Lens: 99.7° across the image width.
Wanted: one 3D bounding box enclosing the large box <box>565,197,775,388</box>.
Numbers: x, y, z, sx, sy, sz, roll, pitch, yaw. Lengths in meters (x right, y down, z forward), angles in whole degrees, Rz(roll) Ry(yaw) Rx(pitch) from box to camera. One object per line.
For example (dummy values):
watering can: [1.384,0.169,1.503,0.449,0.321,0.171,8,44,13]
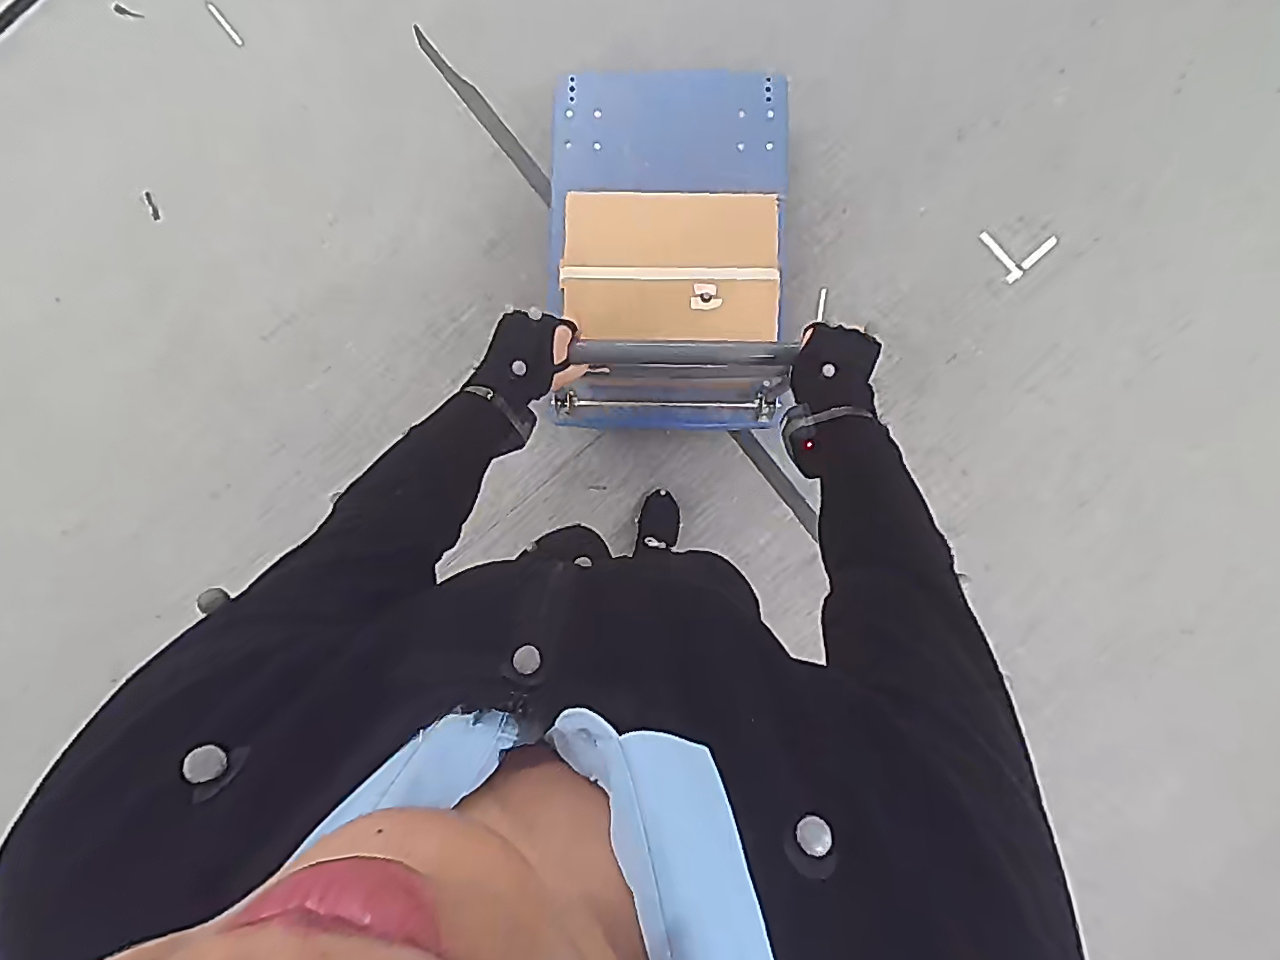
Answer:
large box: [0.054,-0.380,1.172,0.408,0.320,0.320,1,90,0]
